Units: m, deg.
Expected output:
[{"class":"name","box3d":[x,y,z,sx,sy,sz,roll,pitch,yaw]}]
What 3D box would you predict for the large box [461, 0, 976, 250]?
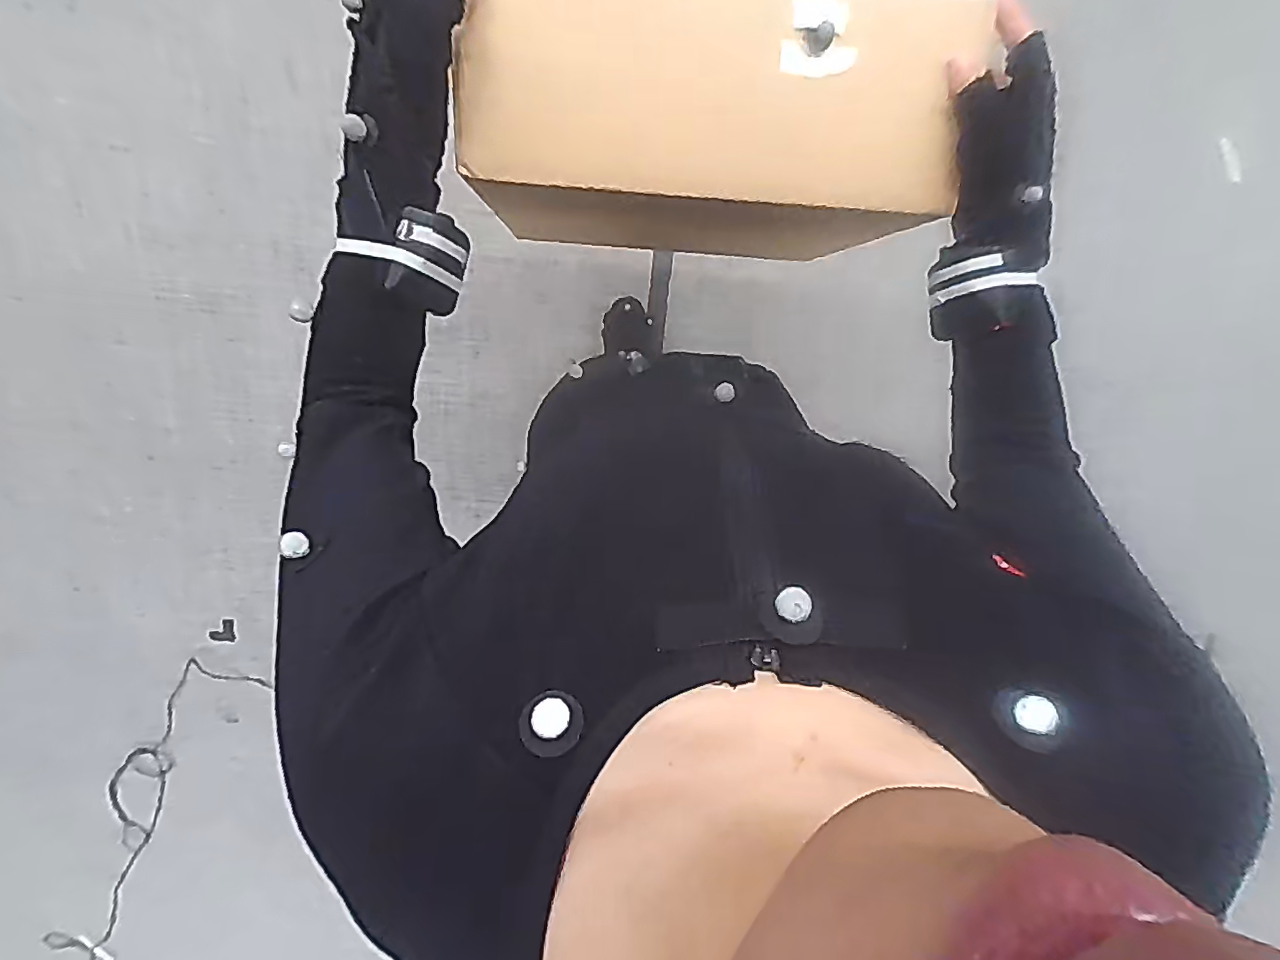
[{"class":"large box","box3d":[0.051,-0.425,0.545,0.408,0.320,0.320,1,106,-6]}]
